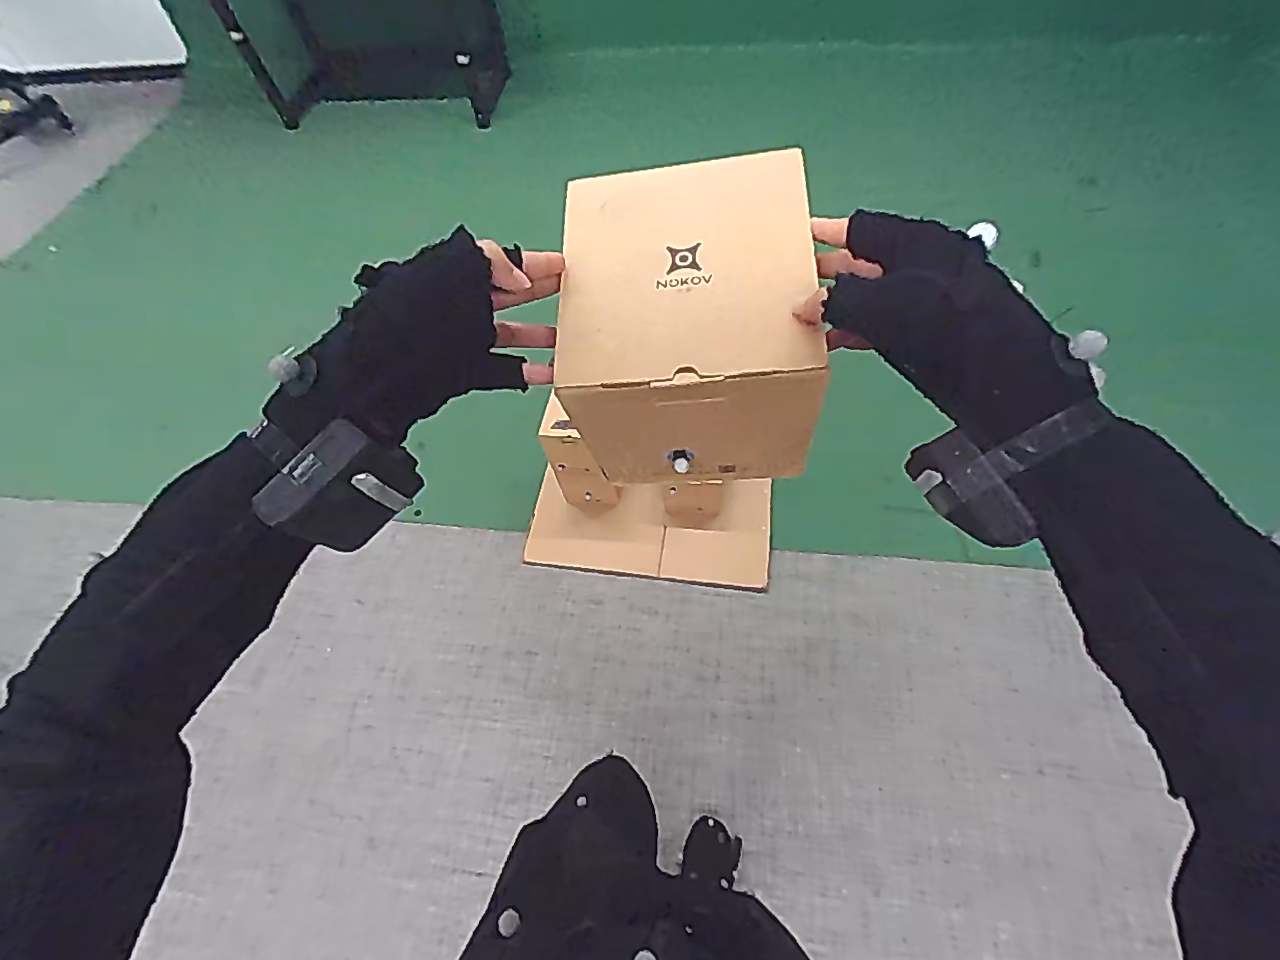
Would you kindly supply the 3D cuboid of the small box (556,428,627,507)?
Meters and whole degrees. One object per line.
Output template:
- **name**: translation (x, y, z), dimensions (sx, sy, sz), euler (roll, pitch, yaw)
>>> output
- **small box**: translation (-0.135, -0.042, 1.601), dimensions (0.168, 0.176, 0.179), euler (3, 59, 9)

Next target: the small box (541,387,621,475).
- **small box**: translation (-0.151, -0.129, 1.463), dimensions (0.168, 0.176, 0.179), euler (5, 58, 10)
